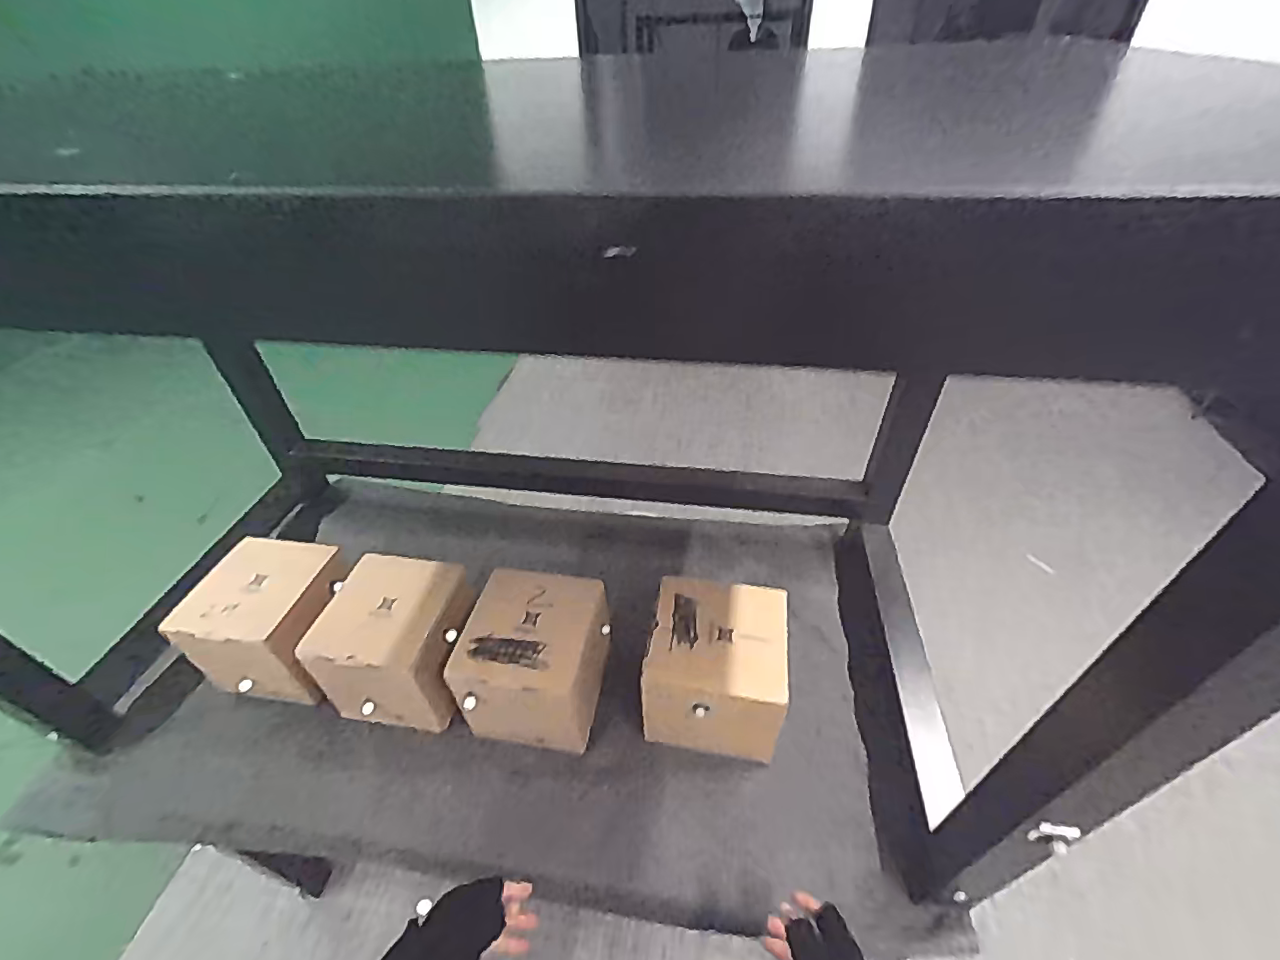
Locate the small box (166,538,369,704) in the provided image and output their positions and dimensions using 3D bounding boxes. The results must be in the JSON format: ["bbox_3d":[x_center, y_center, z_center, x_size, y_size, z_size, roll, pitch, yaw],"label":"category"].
[{"bbox_3d":[-0.552,0.215,0.838,0.168,0.176,0.179,4,41,8],"label":"small box"}]

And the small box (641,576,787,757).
[{"bbox_3d":[0.103,0.260,0.753,0.179,0.176,0.168,7,42,9],"label":"small box"}]
